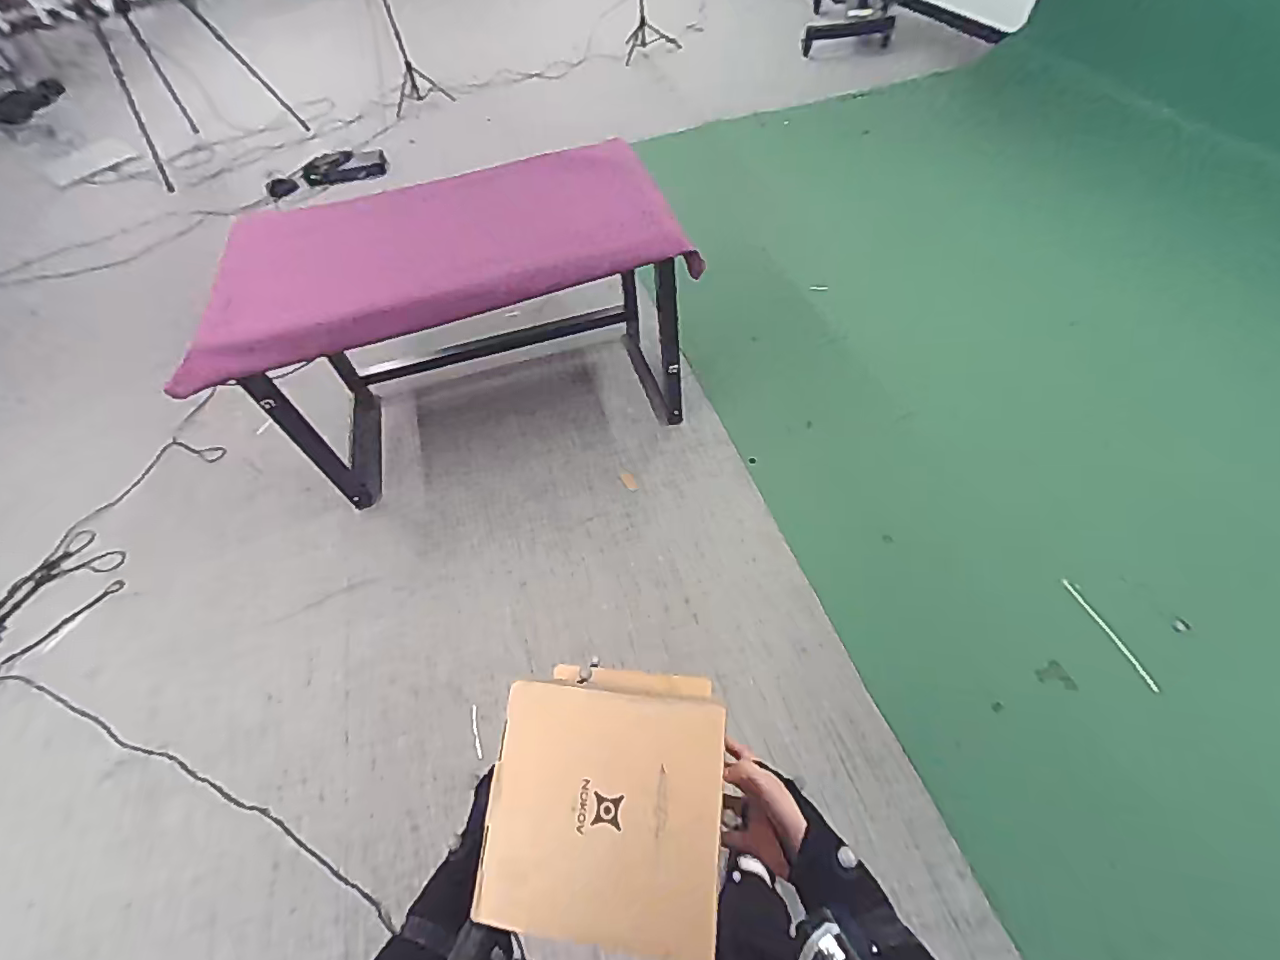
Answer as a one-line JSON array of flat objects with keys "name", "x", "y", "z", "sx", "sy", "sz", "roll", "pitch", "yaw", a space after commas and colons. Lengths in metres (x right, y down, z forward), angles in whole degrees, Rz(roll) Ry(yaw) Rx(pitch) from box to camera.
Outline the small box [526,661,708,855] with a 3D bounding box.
[{"name": "small box", "x": -0.012, "y": 0.309, "z": 0.630, "sx": 0.179, "sy": 0.176, "sz": 0.168, "roll": 2, "pitch": 68, "yaw": 9}]
